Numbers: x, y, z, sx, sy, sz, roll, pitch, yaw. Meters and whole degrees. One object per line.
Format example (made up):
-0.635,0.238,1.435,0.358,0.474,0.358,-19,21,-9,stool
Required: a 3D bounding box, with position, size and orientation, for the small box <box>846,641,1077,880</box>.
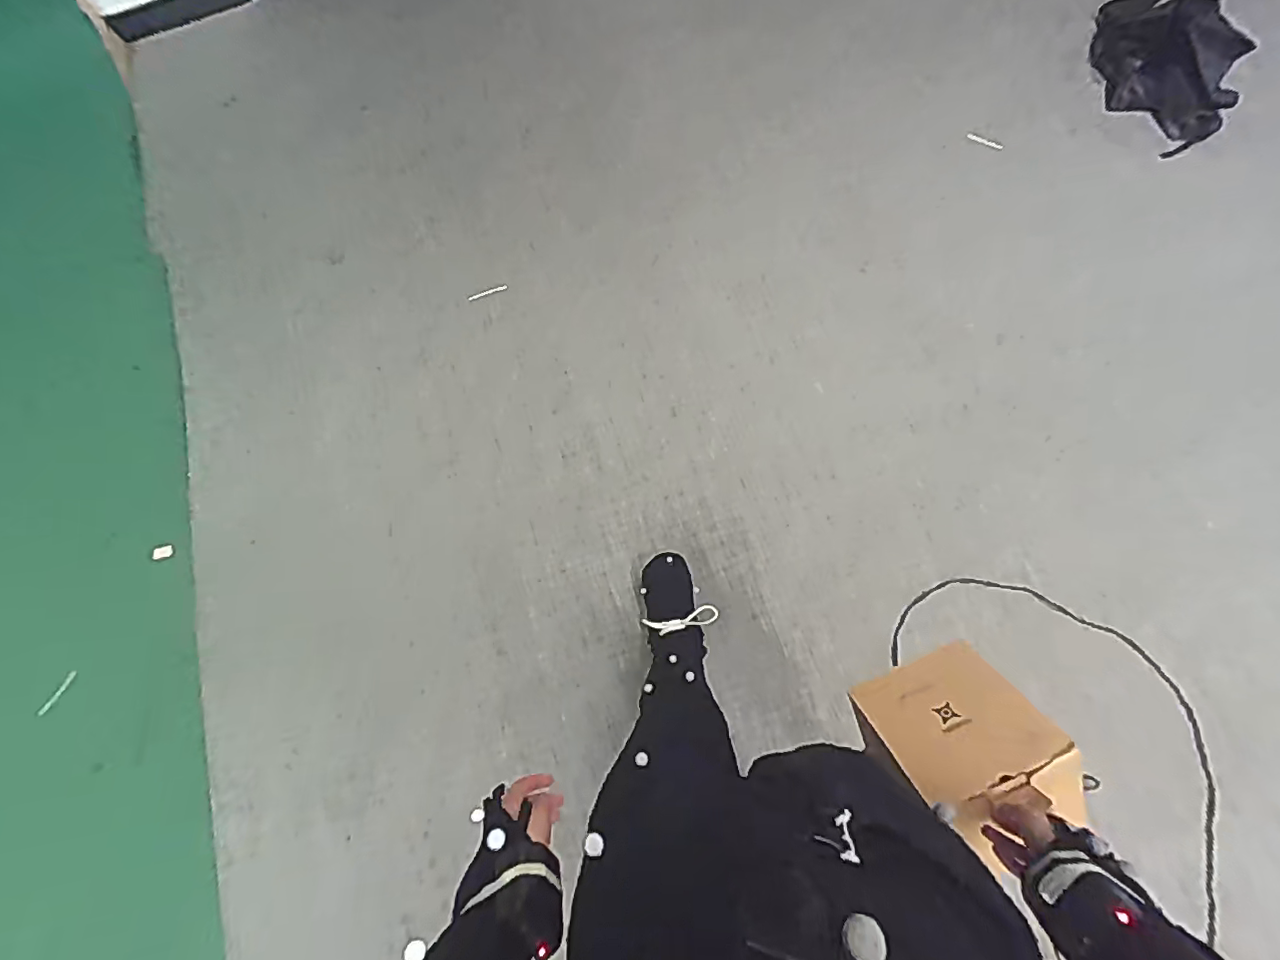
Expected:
0.385,0.339,0.656,0.168,0.179,0.176,-24,113,0,small box
